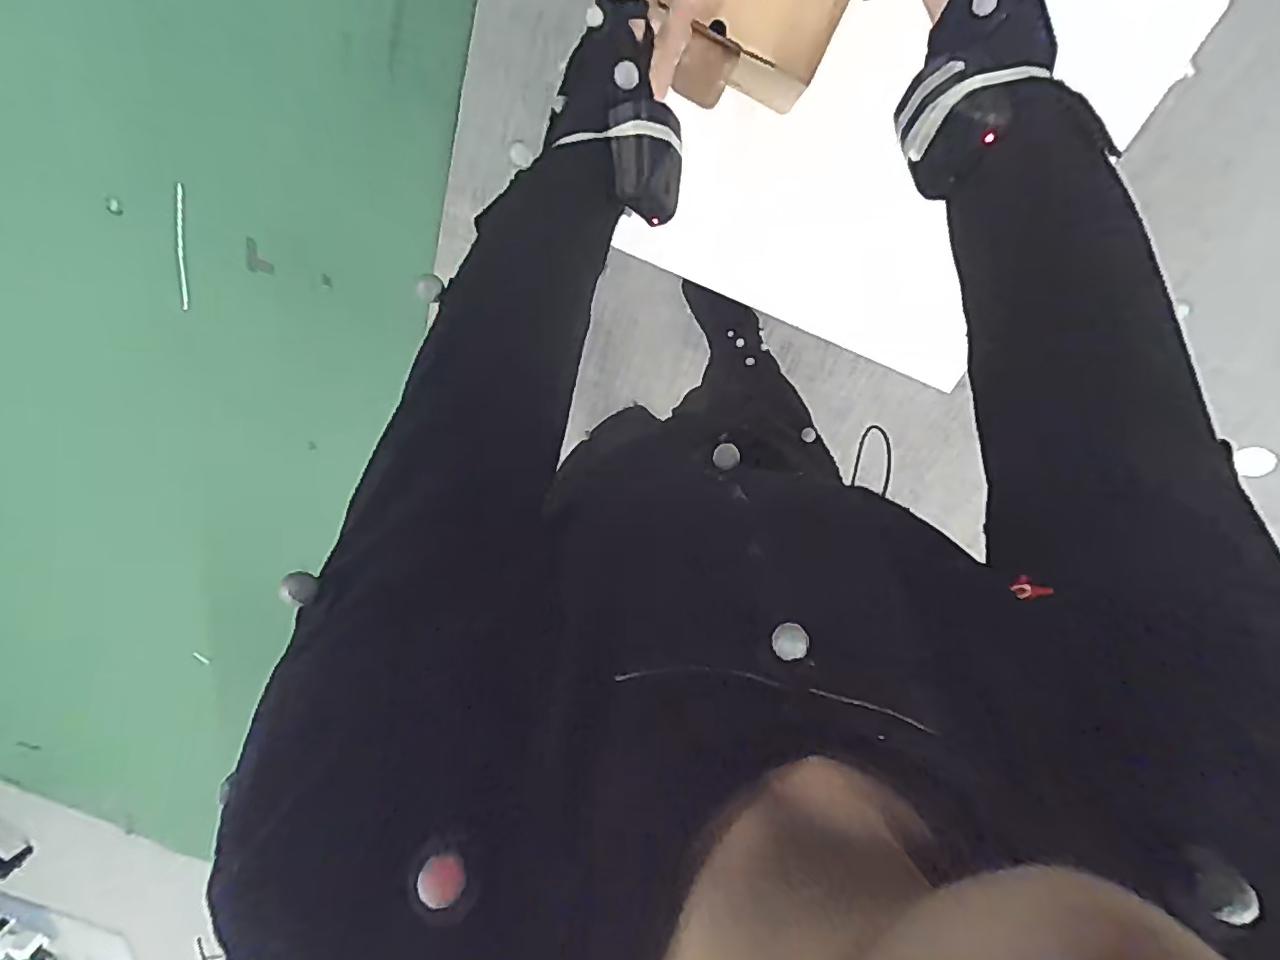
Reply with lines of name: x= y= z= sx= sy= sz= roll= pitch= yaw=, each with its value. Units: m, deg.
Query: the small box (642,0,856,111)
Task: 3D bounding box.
small box: x=0.105 y=-0.444 z=0.446 sx=0.168 sy=0.176 sz=0.179 roll=25 pitch=119 yaw=-5
